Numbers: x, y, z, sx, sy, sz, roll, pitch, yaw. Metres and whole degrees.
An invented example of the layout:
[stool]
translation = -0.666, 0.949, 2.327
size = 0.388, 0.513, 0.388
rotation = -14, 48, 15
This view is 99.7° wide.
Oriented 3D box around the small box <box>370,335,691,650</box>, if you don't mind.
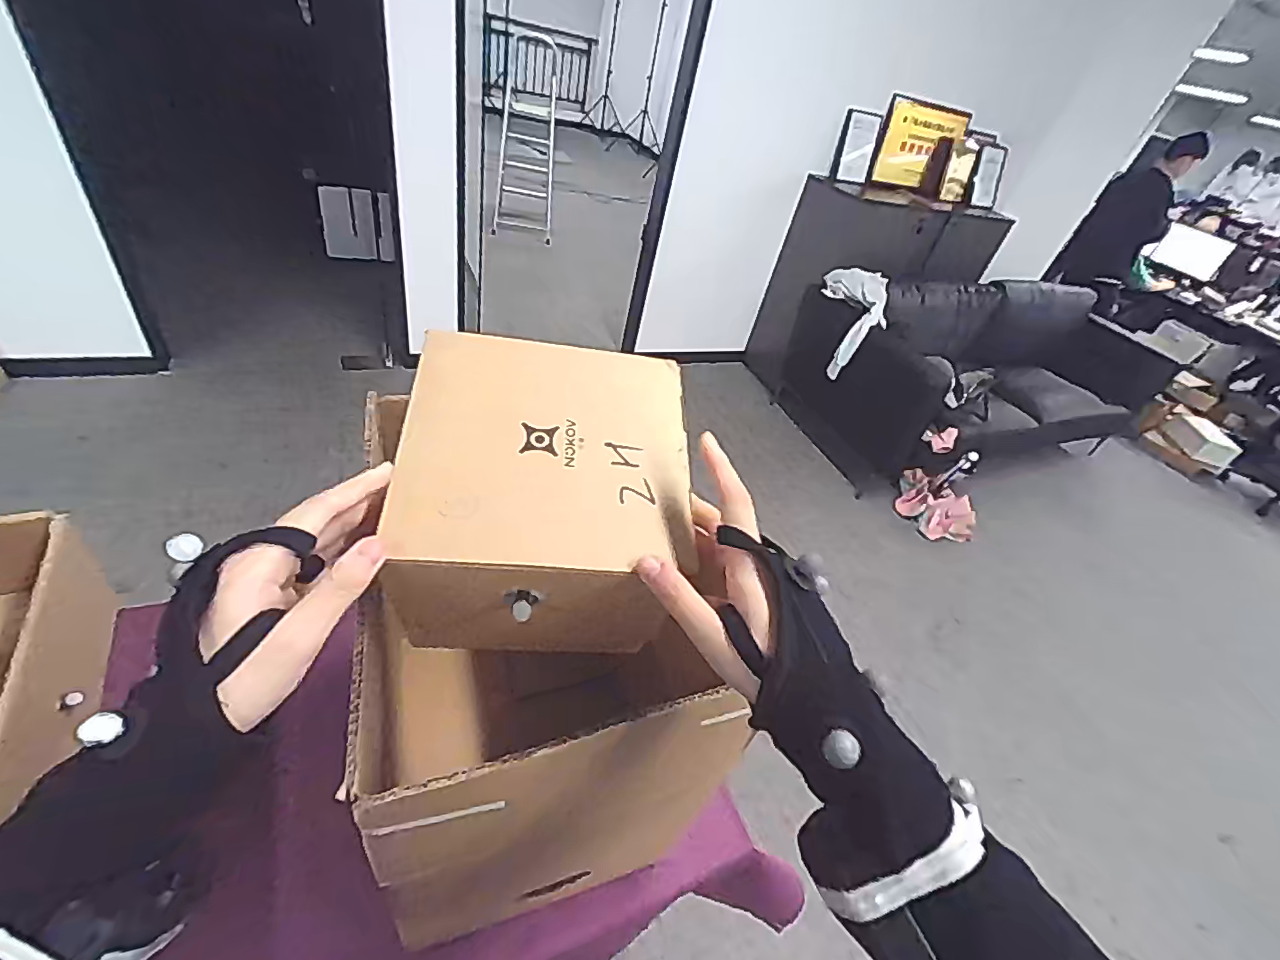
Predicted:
[small box]
translation = -0.073, 0.021, 0.401
size = 0.179, 0.176, 0.168
rotation = 6, 58, -12
